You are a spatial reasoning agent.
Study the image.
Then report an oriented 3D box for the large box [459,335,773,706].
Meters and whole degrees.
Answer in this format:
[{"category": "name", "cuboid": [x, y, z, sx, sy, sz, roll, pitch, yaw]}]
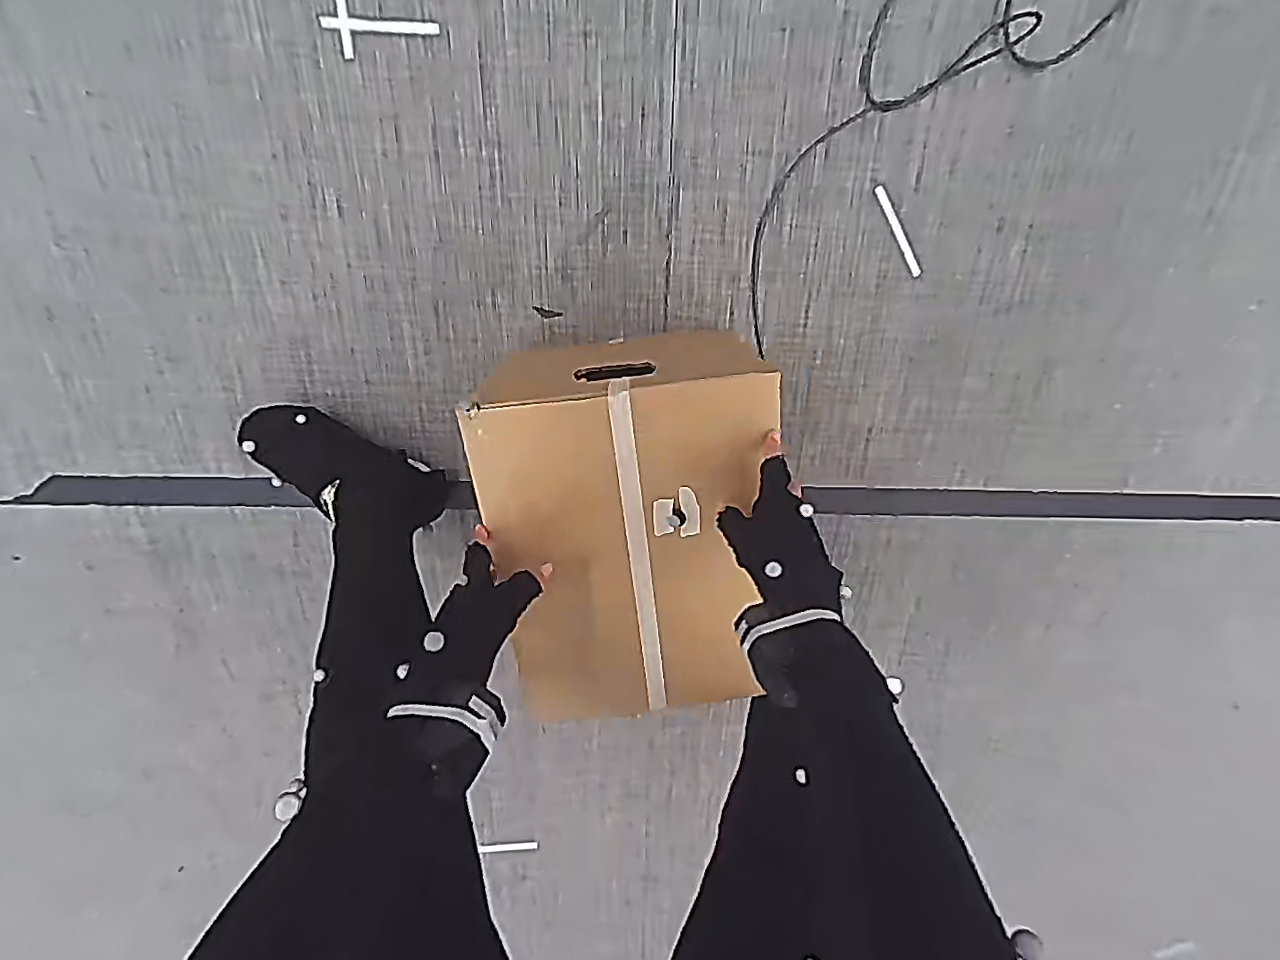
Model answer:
[{"category": "large box", "cuboid": [-0.011, 0.035, 0.745, 0.320, 0.320, 0.408, -6, 112, 0]}]
